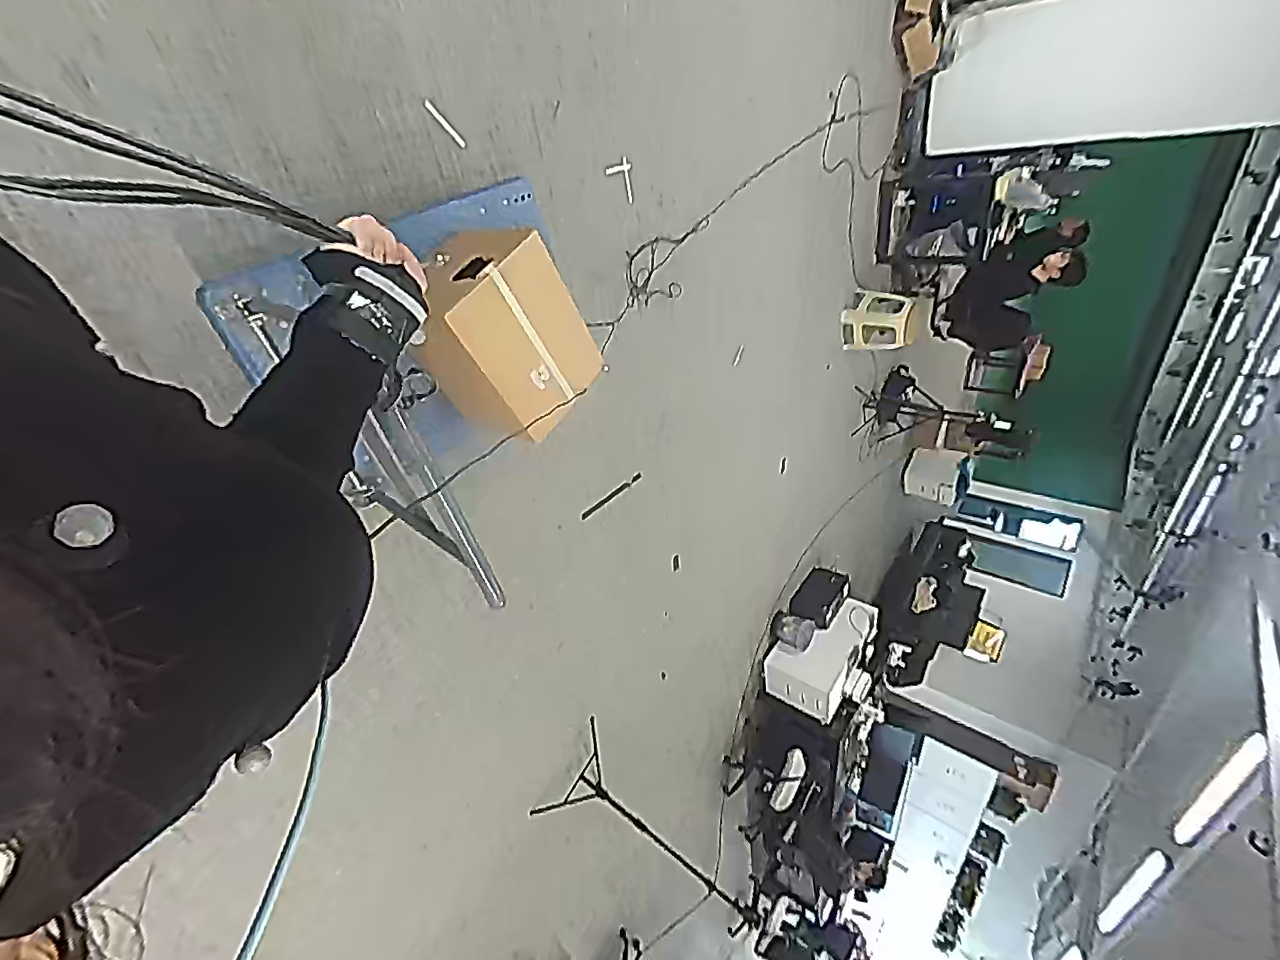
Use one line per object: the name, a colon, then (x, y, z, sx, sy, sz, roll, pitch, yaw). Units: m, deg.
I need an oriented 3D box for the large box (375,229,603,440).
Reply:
large box: (-0.365, -0.368, 1.377, 0.320, 0.320, 0.408, -54, 141, -21)
